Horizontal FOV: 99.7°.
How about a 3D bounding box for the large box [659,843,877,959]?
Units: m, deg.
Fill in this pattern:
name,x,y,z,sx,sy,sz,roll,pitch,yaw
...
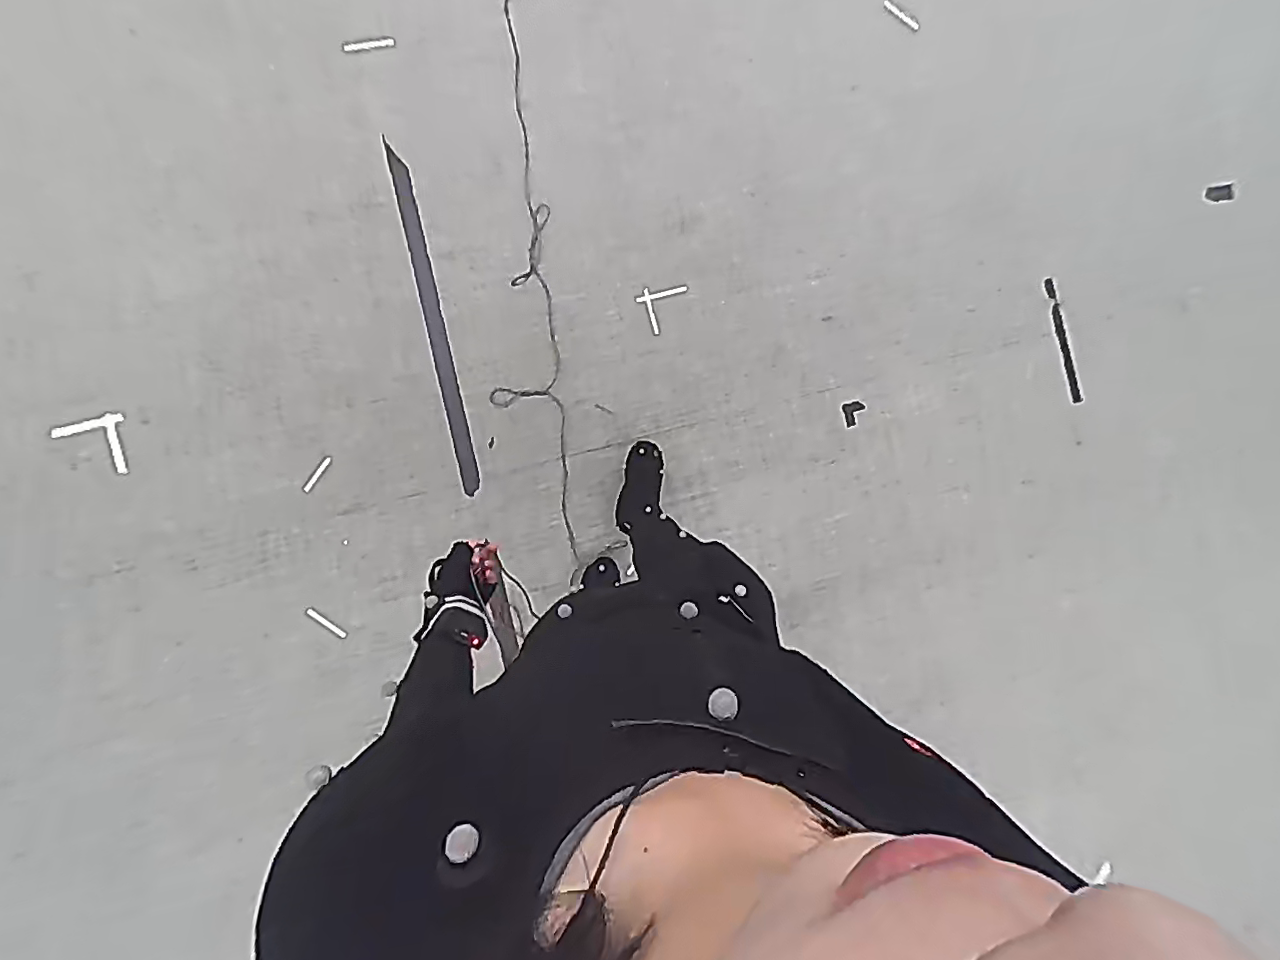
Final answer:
name,x,y,z,sx,sy,sz,roll,pitch,yaw
large box,0.289,1.089,1.167,0.408,0.320,0.320,-17,88,-6
